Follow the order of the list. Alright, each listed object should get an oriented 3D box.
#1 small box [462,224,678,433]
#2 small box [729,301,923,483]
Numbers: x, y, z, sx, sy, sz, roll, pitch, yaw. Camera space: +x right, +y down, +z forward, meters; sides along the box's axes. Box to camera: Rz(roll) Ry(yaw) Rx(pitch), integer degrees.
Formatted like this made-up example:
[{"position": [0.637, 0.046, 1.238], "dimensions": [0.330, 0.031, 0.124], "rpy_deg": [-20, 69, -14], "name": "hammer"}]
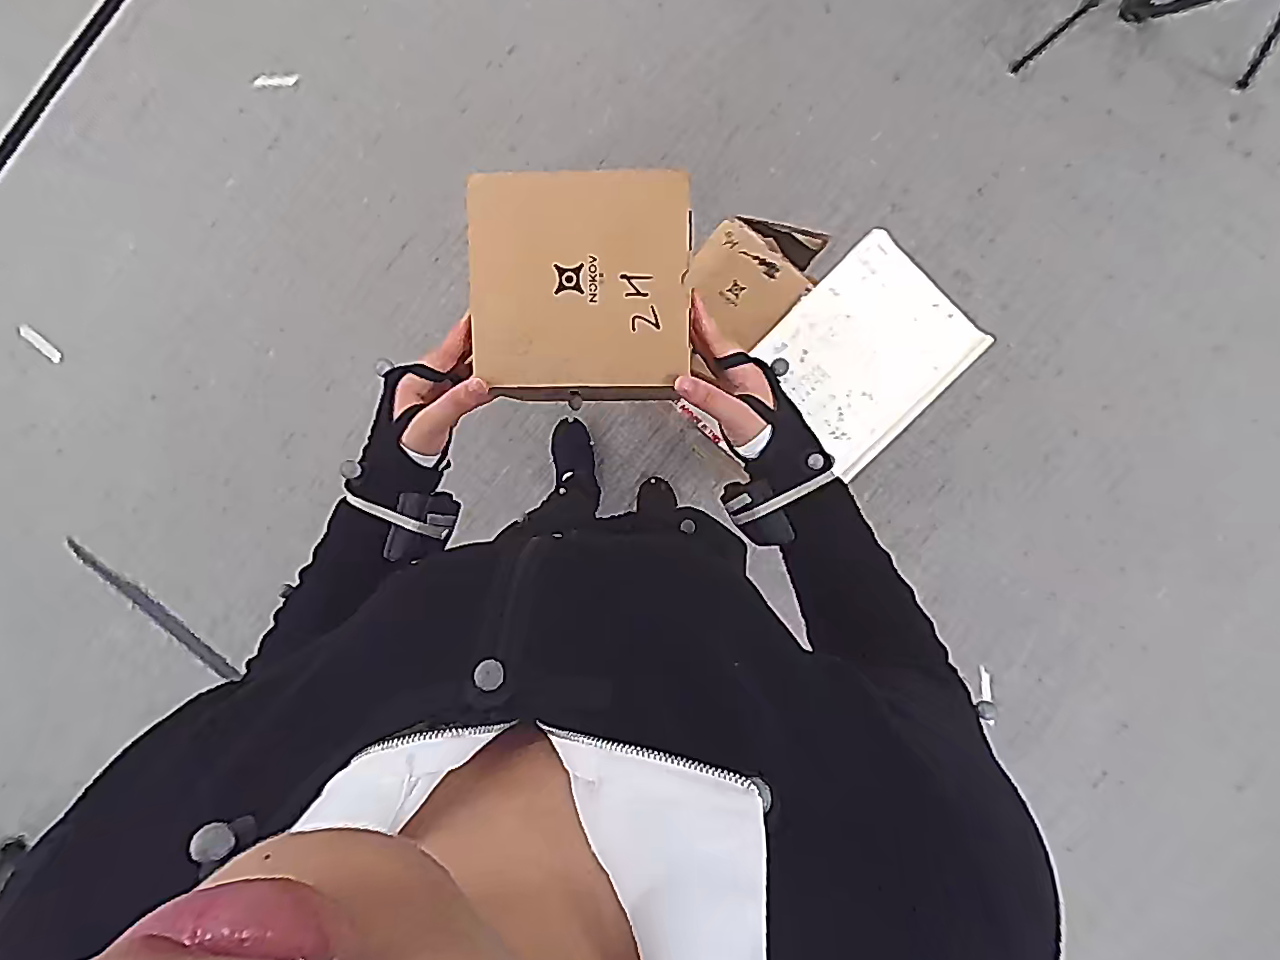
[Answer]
[{"position": [-0.055, -0.129, 0.517], "dimensions": [0.179, 0.176, 0.168], "rpy_deg": [0, 96, 1], "name": "small box"}, {"position": [0.249, -0.118, 0.772], "dimensions": [0.179, 0.176, 0.168], "rpy_deg": [-44, 92, 3], "name": "small box"}]
